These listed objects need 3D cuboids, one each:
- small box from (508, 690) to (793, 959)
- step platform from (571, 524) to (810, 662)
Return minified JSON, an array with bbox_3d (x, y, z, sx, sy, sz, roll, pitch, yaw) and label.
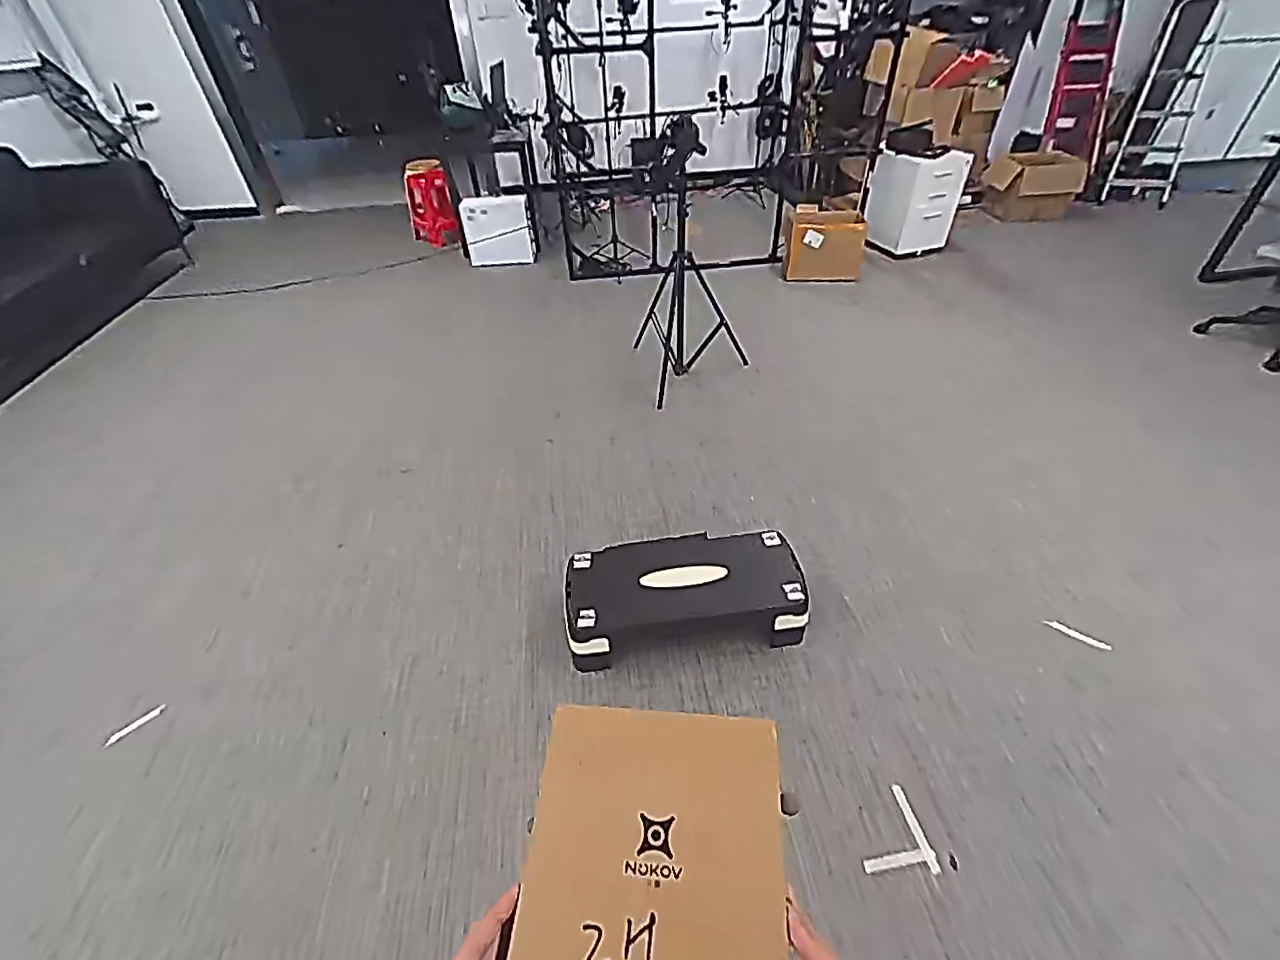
[{"bbox_3d":[0.020,0.282,0.410,0.168,0.176,0.179,1,49,9],"label":"small box"},{"bbox_3d":[0.138,0.321,1.590,0.684,0.204,0.286,-7,41,-4],"label":"step platform"}]
